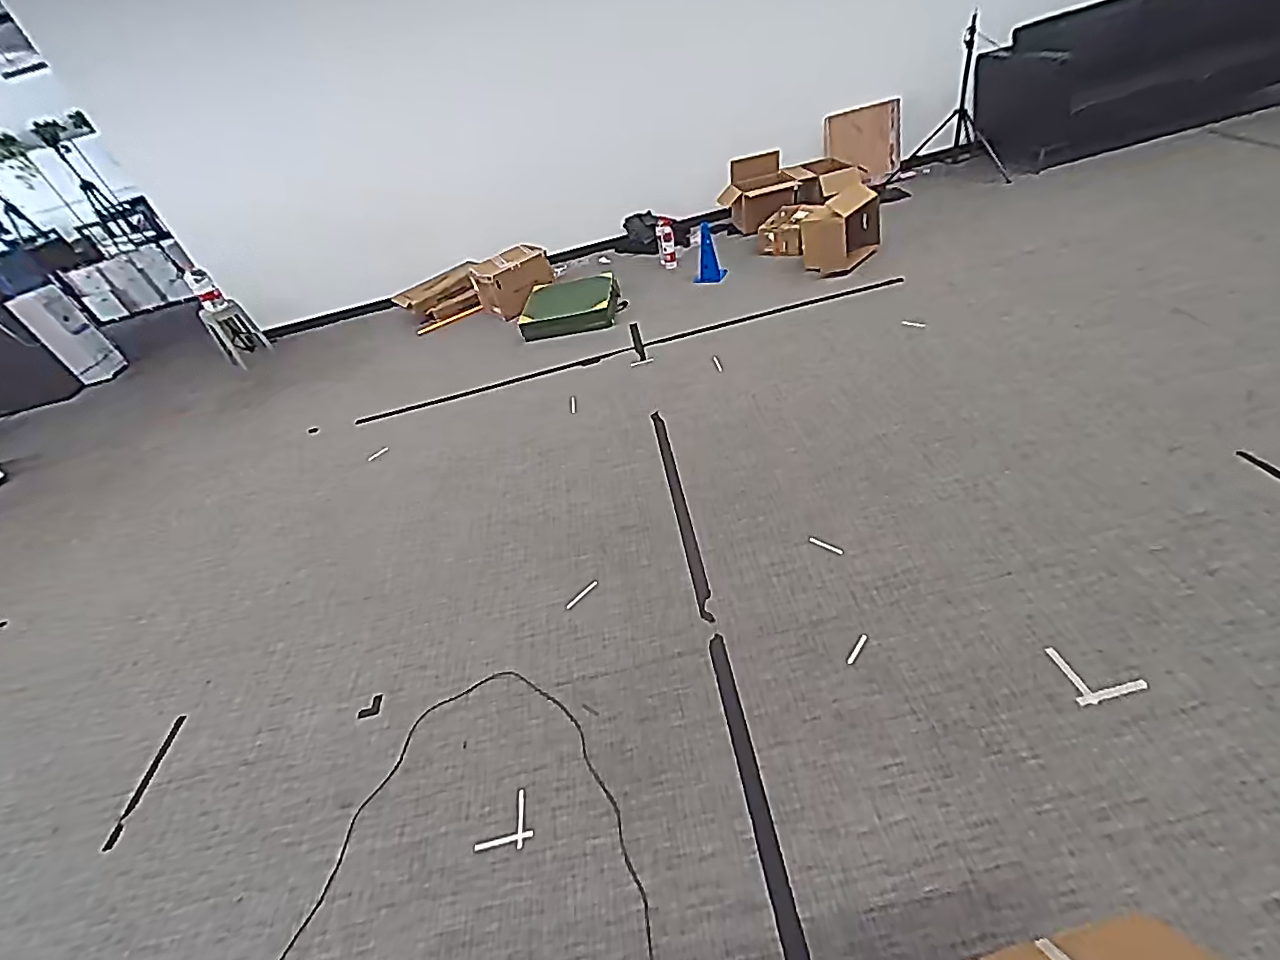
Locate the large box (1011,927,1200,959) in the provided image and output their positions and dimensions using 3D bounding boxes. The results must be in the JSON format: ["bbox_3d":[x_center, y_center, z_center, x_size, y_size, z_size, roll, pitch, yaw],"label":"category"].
[{"bbox_3d":[0.585,0.751,0.516,0.320,0.408,0.320,-15,79,-2],"label":"large box"}]
